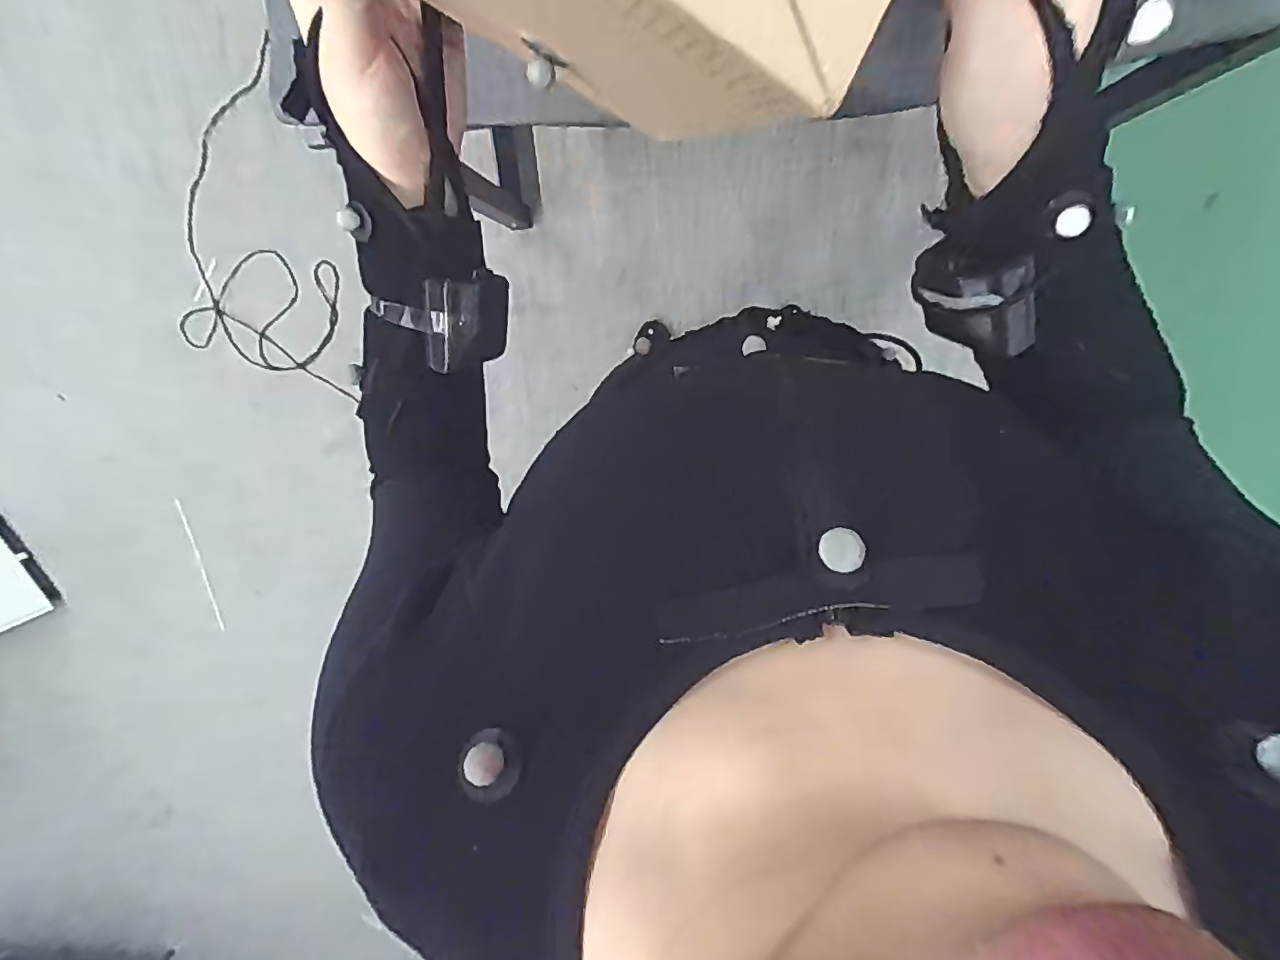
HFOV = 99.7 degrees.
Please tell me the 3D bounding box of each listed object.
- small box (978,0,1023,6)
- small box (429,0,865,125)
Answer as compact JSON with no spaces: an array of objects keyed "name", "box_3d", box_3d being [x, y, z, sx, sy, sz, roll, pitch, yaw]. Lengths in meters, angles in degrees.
[{"name":"small box","box_3d":[0.407,-0.564,0.463,0.168,0.176,0.179,-1,105,8]},{"name":"small box","box_3d":[-0.009,-0.241,0.168,0.179,0.176,0.168,13,114,-26]}]
